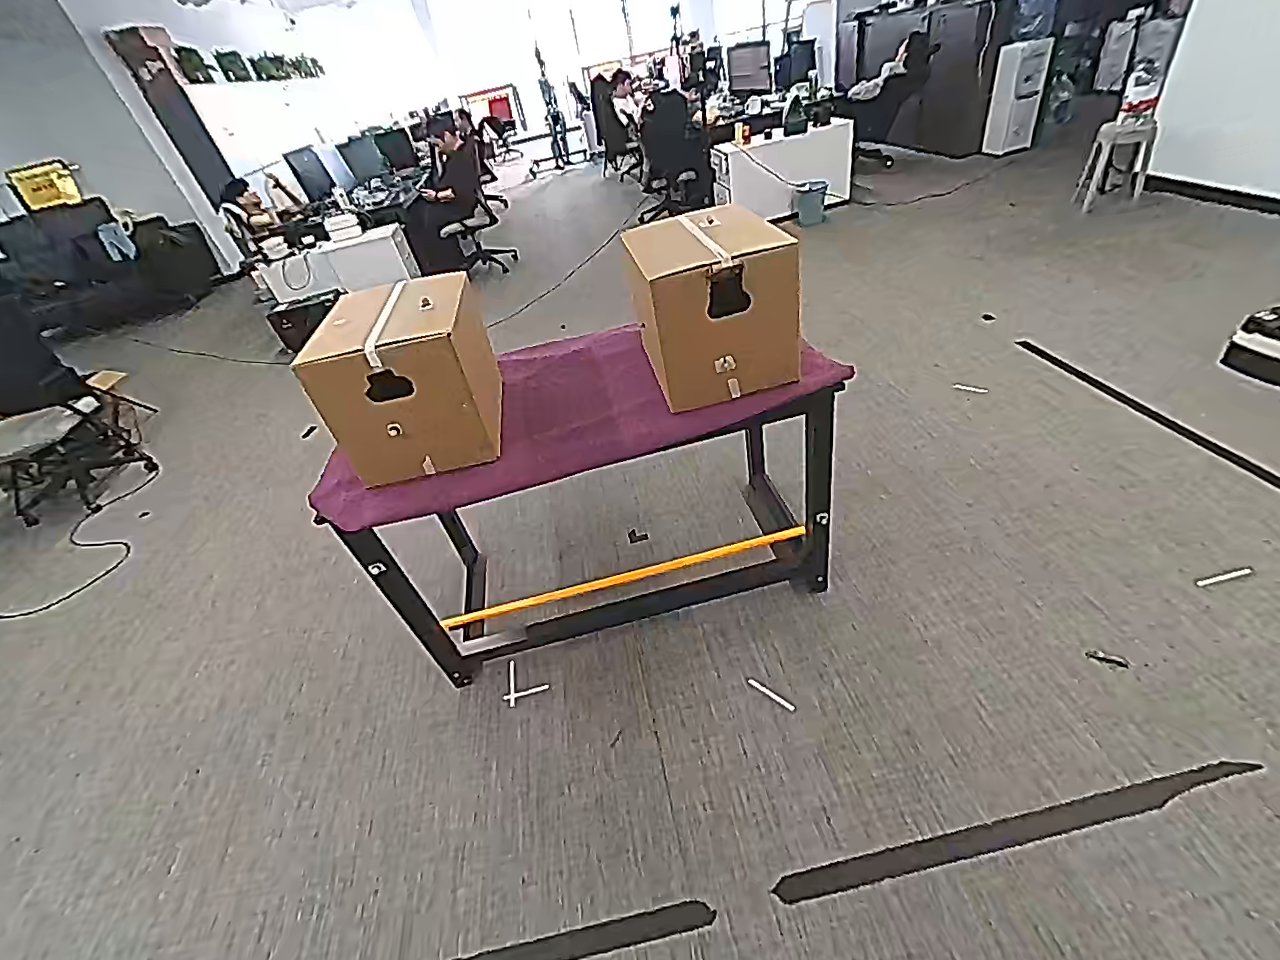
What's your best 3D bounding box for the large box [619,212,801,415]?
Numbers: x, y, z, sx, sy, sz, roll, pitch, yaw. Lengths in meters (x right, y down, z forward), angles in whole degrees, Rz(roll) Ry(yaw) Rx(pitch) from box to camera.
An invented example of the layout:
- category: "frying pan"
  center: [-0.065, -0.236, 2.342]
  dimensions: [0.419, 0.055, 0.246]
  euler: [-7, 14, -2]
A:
- category: "large box"
  center: [0.160, -0.410, 1.300]
  dimensions: [0.320, 0.320, 0.408]
  euler: [-15, 37, -2]
